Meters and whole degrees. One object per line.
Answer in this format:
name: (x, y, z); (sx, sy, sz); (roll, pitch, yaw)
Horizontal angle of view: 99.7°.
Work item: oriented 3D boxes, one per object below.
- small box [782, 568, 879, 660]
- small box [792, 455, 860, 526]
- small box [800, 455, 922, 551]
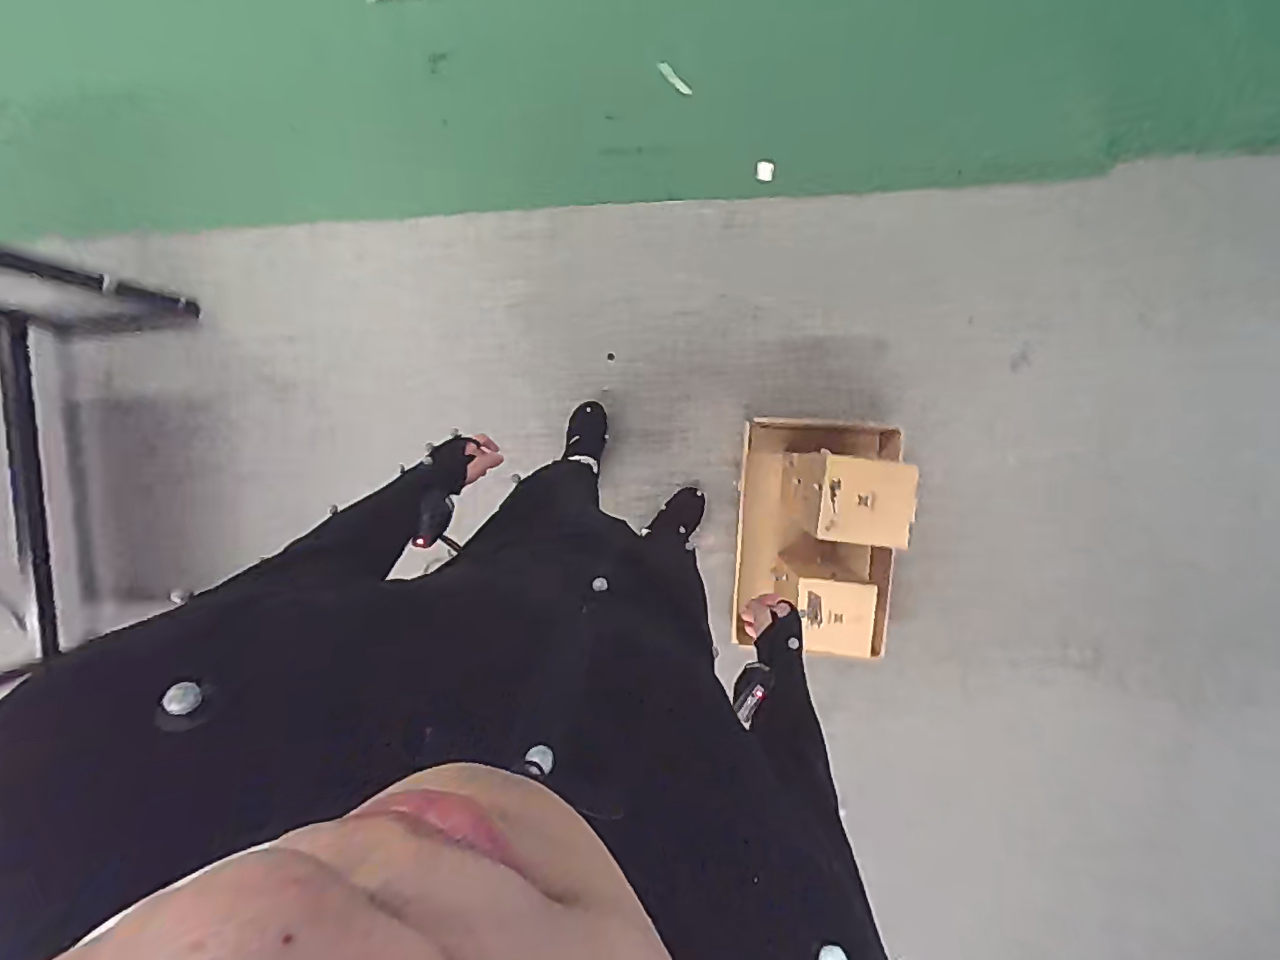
small box: (0.445, 0.311, 1.291); (0.179, 0.176, 0.168); (6, 92, 4)
small box: (0.469, 0.030, 1.275); (0.179, 0.176, 0.168); (4, 95, 5)
small box: (0.444, 0.039, 1.113); (0.179, 0.176, 0.168); (7, 95, 4)
